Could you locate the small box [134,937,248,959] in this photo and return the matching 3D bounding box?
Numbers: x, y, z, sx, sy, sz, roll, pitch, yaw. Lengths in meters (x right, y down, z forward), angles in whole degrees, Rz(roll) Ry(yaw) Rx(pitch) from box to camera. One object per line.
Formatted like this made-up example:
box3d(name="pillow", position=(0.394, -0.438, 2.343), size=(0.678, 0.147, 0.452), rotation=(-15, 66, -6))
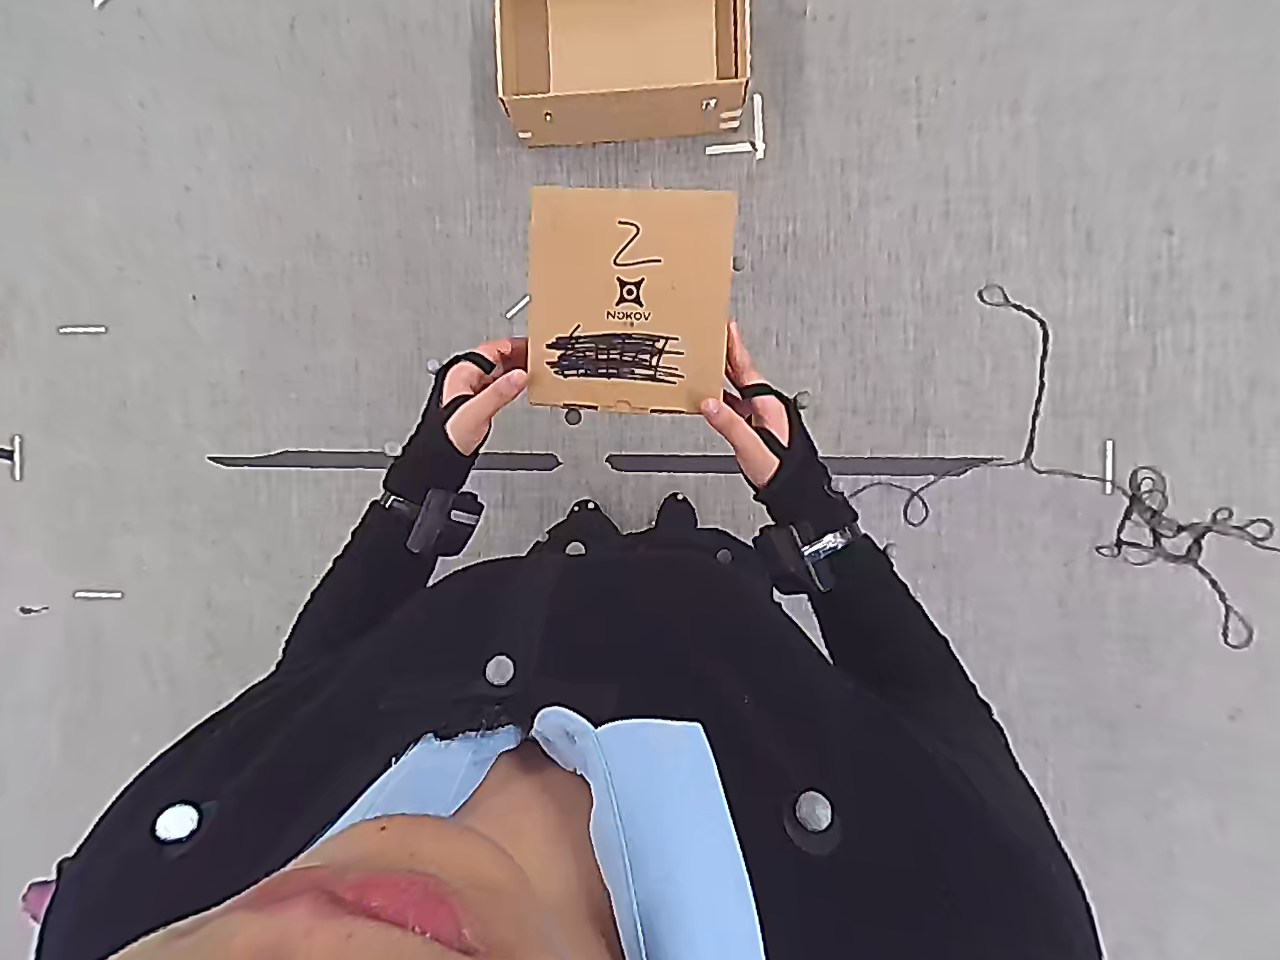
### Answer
box3d(name="small box", position=(-0.668, 0.789, 0.739), size=(0.168, 0.176, 0.179), rotation=(4, 92, 4))
